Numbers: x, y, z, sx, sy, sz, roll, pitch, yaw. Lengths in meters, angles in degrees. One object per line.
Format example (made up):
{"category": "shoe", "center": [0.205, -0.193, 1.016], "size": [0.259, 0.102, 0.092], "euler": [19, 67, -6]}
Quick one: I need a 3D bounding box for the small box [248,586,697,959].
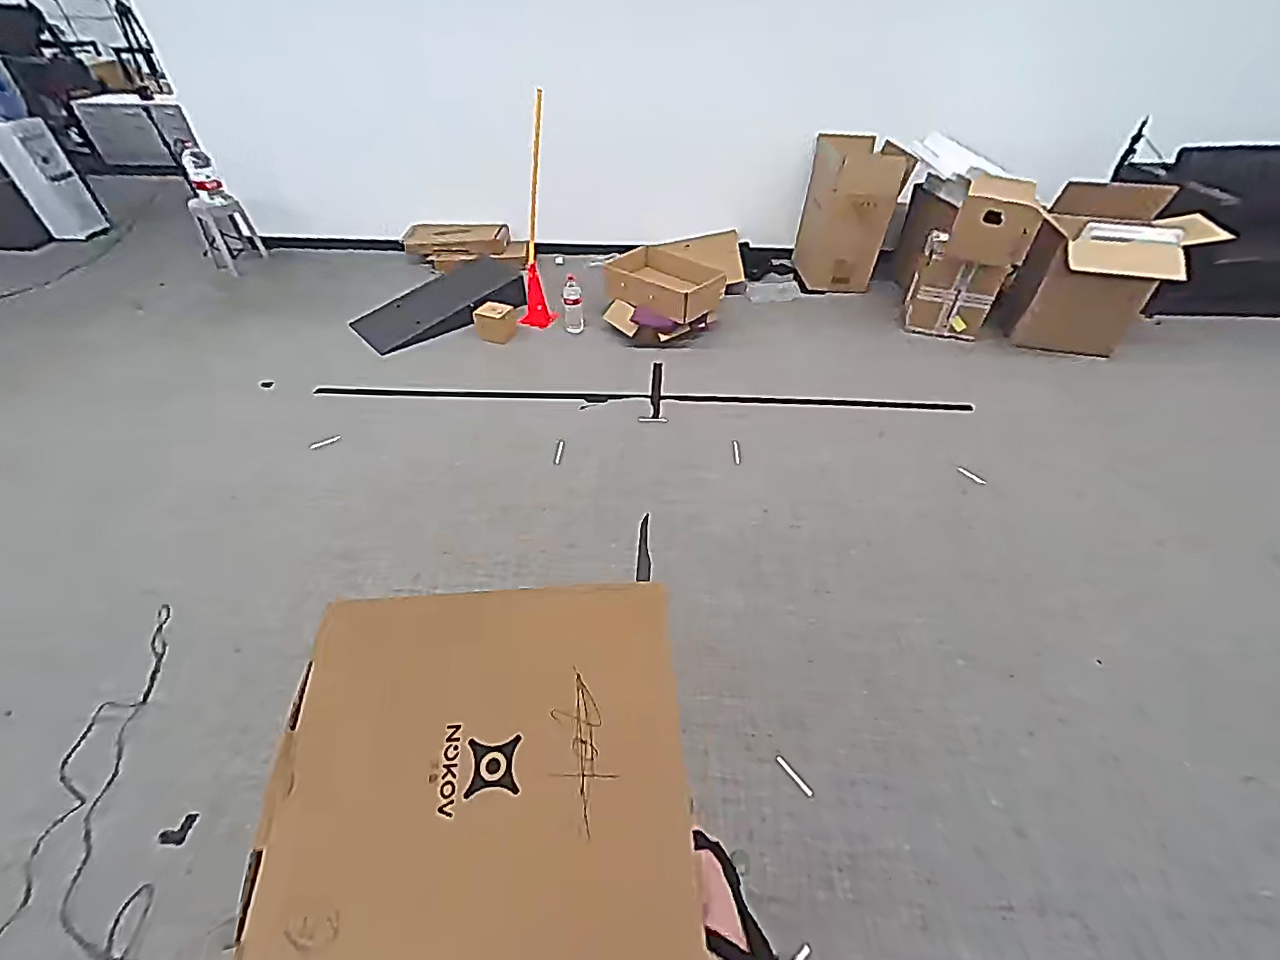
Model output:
{"category": "small box", "center": [-0.074, 0.176, 0.314], "size": [0.179, 0.176, 0.168], "euler": [-3, 56, -6]}
